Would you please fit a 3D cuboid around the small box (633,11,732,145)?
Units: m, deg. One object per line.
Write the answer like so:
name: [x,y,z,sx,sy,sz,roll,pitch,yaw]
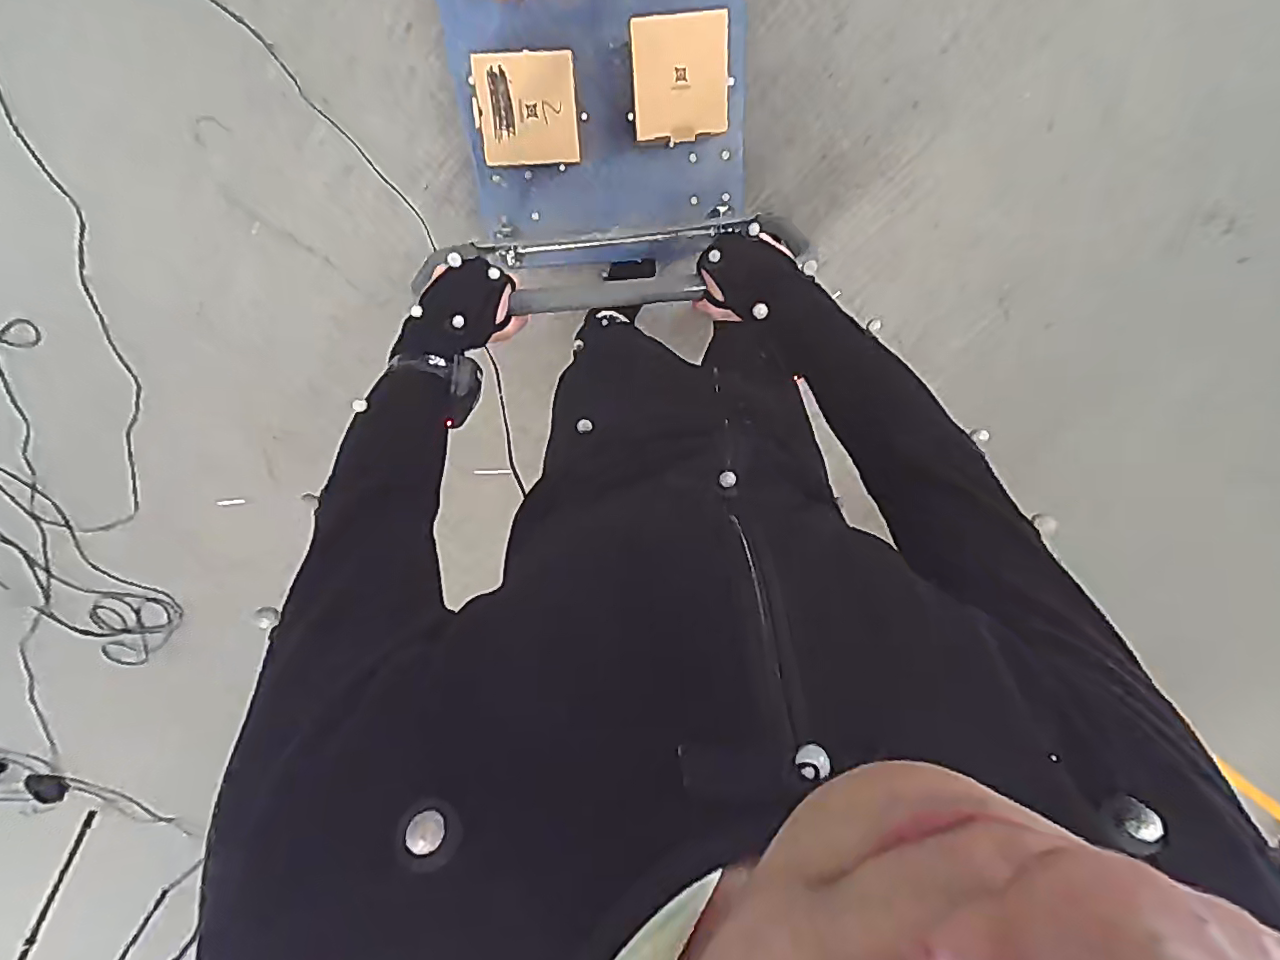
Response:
small box: [0.076,-0.739,1.011,0.168,0.176,0.179,-5,121,1]
